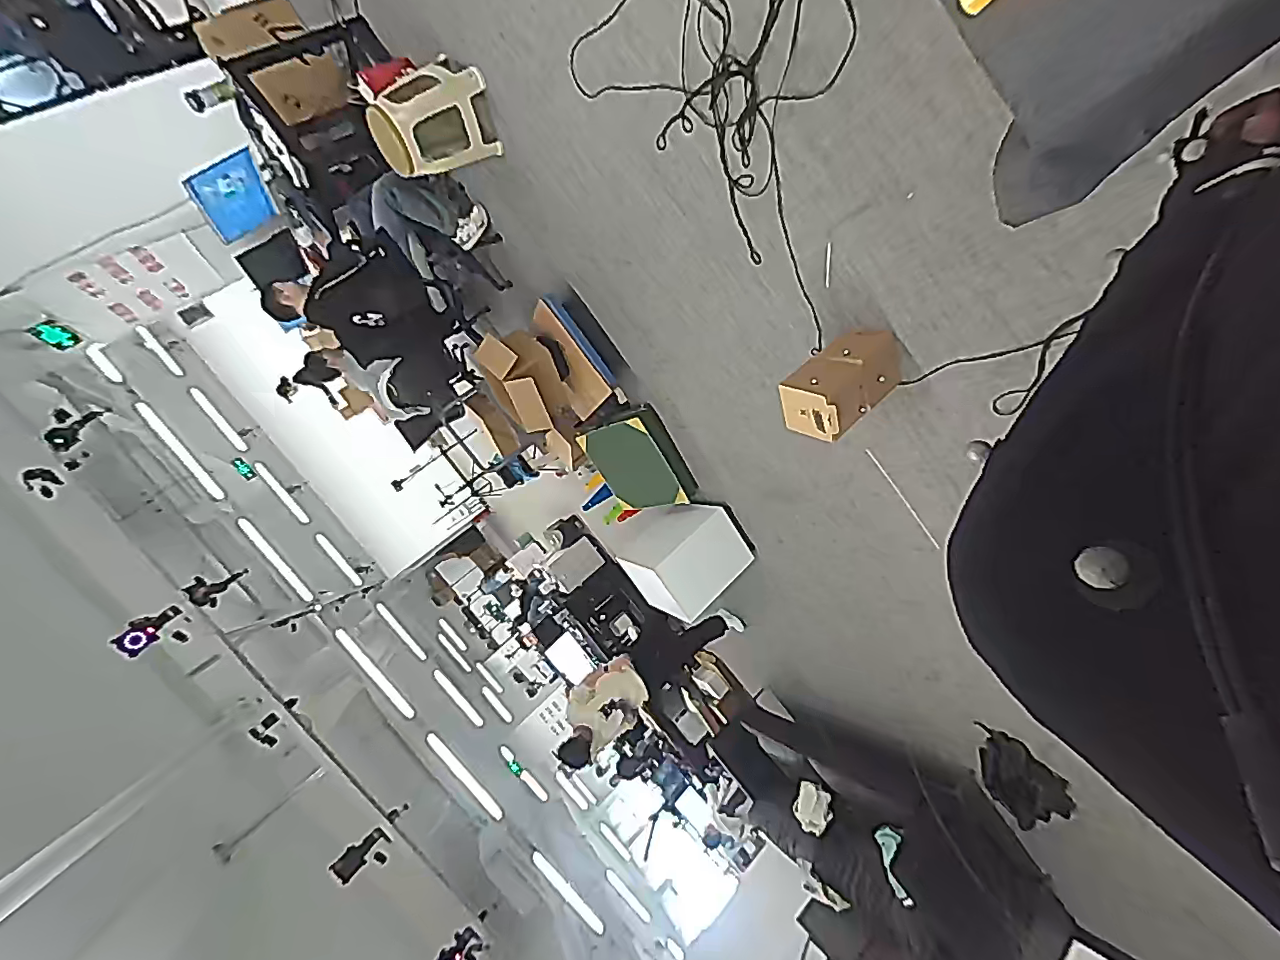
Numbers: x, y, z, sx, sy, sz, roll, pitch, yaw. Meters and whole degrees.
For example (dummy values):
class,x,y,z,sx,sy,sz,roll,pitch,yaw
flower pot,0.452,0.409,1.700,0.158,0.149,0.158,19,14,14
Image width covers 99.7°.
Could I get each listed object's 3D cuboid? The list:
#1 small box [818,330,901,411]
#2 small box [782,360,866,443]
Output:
class,x,y,z,sx,sy,sz,roll,pitch,yaw
small box,0.683,-0.340,1.669,0.168,0.176,0.179,24,146,52
small box,0.557,-0.243,1.622,0.179,0.176,0.168,29,150,48
